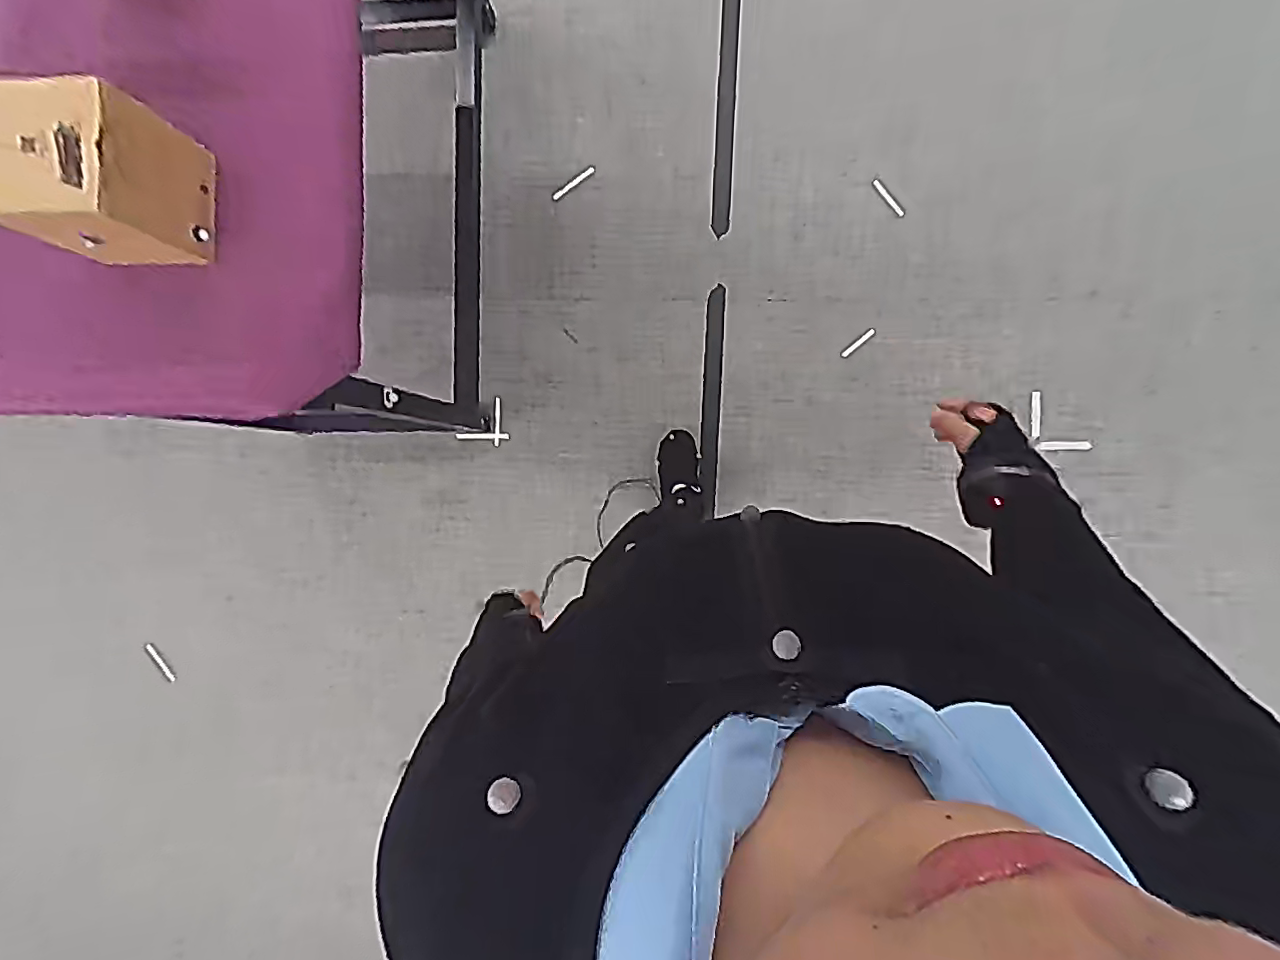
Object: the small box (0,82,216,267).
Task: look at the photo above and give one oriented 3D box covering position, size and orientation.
[{"bbox_3d":[-0.731,-0.408,0.746,0.179,0.176,0.168,1,90,4],"label":"small box"}]
